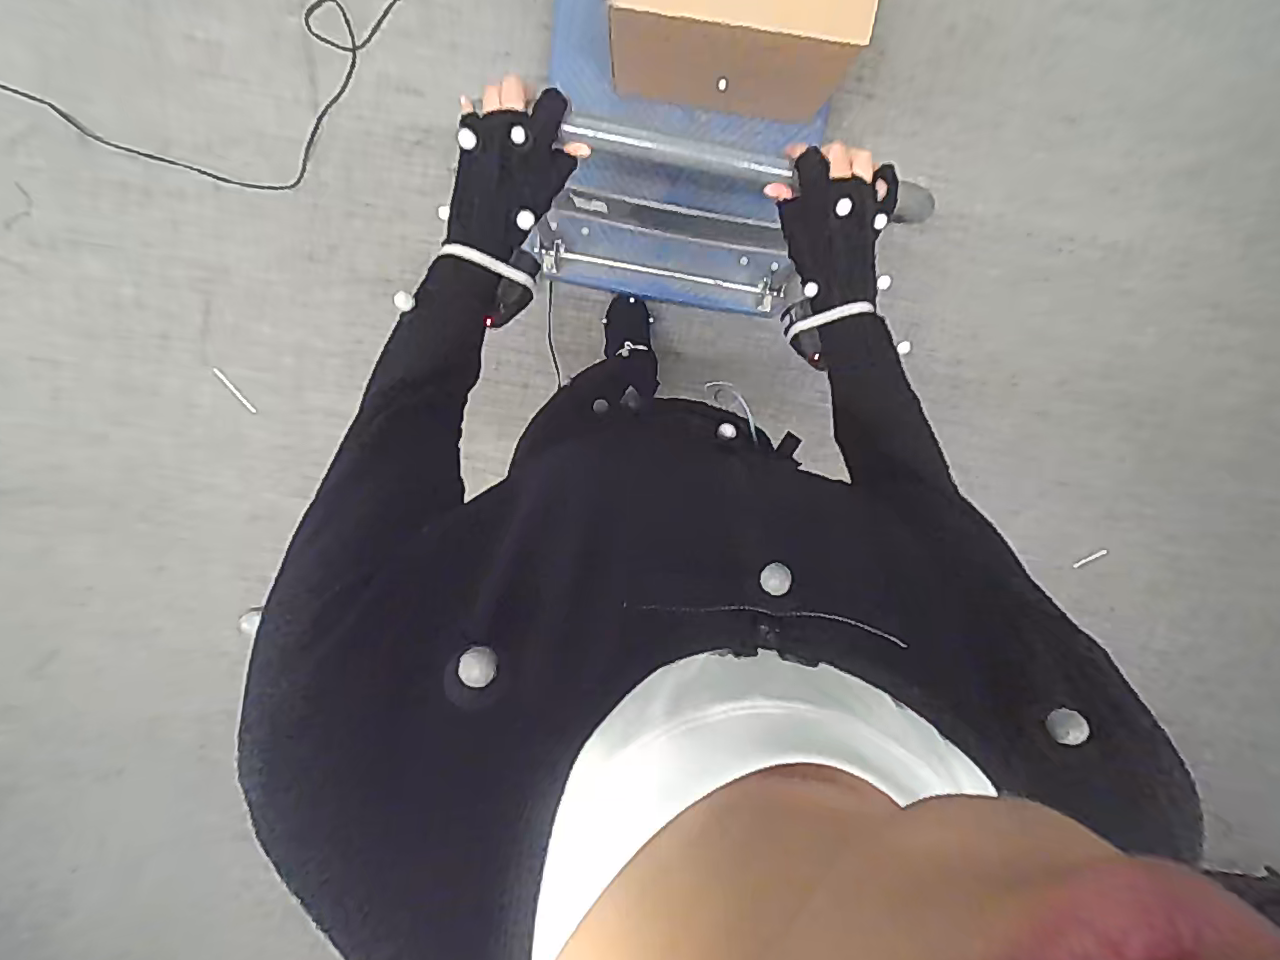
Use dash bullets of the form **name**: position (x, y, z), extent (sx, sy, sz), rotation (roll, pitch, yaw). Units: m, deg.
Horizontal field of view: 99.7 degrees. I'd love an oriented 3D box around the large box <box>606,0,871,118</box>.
- **large box**: position (0.166, -0.873, 0.931), extent (0.408, 0.320, 0.320), rotation (8, 103, -1)
